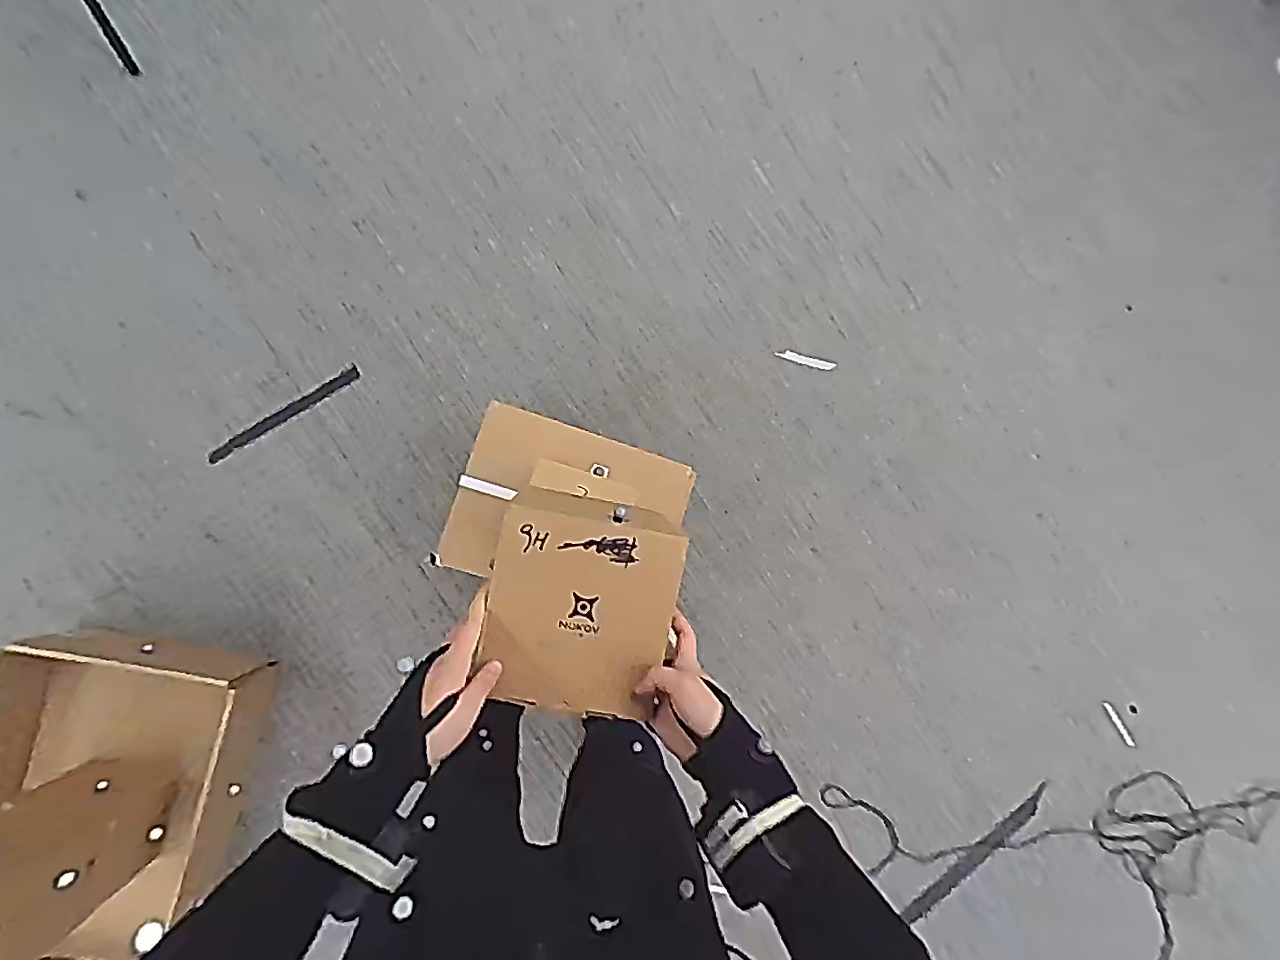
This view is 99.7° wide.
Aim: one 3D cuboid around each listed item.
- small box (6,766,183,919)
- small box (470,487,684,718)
[{"bbox_3d":[-1.004,0.650,0.989,0.179,0.176,0.168,13,84,-9],"label":"small box"},{"bbox_3d":[-0.064,0.114,0.565,0.168,0.176,0.179,11,94,-8],"label":"small box"}]
